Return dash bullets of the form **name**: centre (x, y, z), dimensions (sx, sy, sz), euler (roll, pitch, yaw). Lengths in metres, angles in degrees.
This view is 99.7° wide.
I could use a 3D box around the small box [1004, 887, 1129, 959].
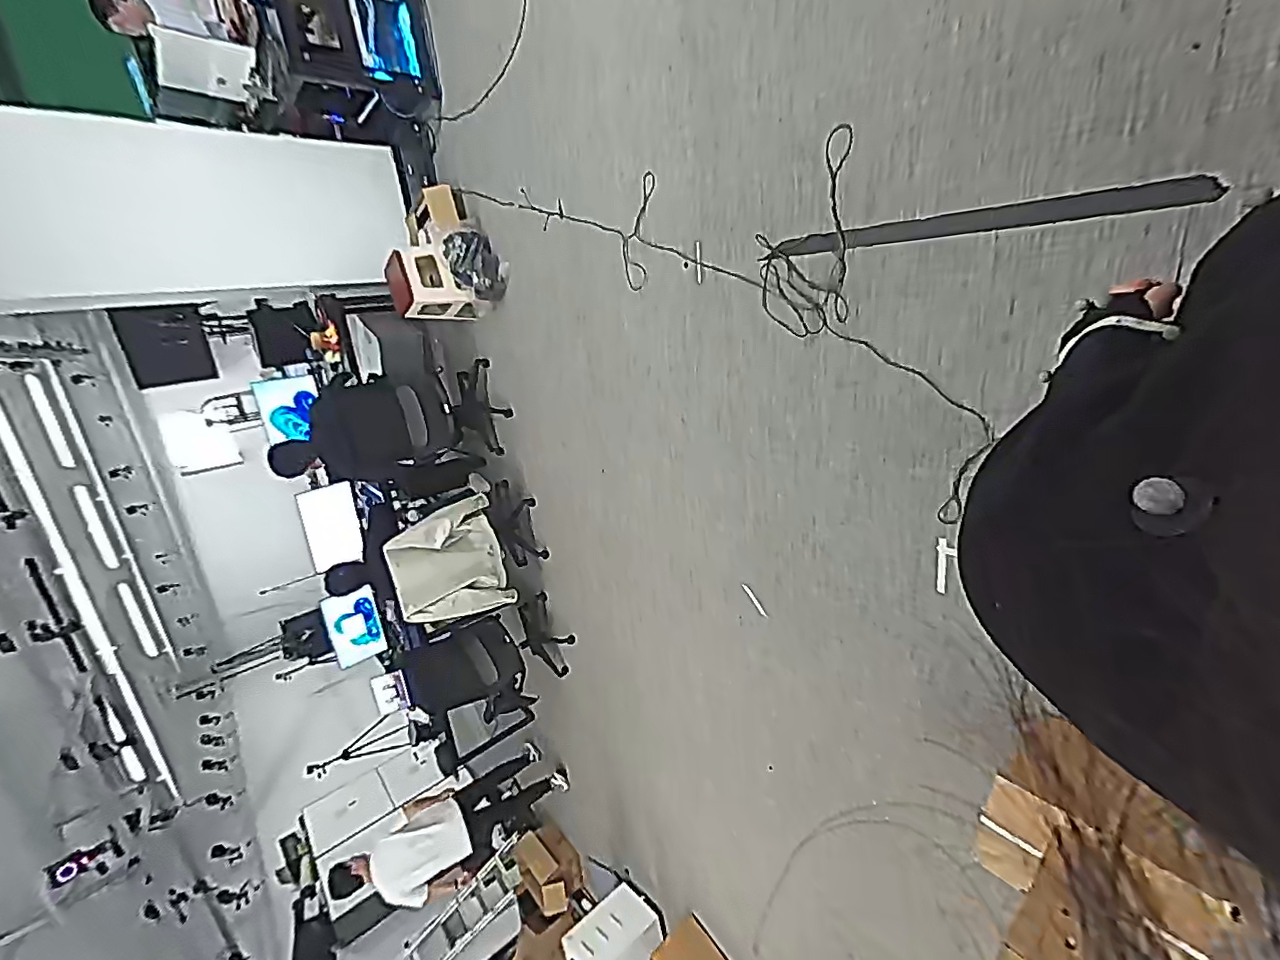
- **small box**: centre (0.805, 0.948, 1.041), dimensions (0.168, 0.176, 0.179), euler (22, 122, 46)
